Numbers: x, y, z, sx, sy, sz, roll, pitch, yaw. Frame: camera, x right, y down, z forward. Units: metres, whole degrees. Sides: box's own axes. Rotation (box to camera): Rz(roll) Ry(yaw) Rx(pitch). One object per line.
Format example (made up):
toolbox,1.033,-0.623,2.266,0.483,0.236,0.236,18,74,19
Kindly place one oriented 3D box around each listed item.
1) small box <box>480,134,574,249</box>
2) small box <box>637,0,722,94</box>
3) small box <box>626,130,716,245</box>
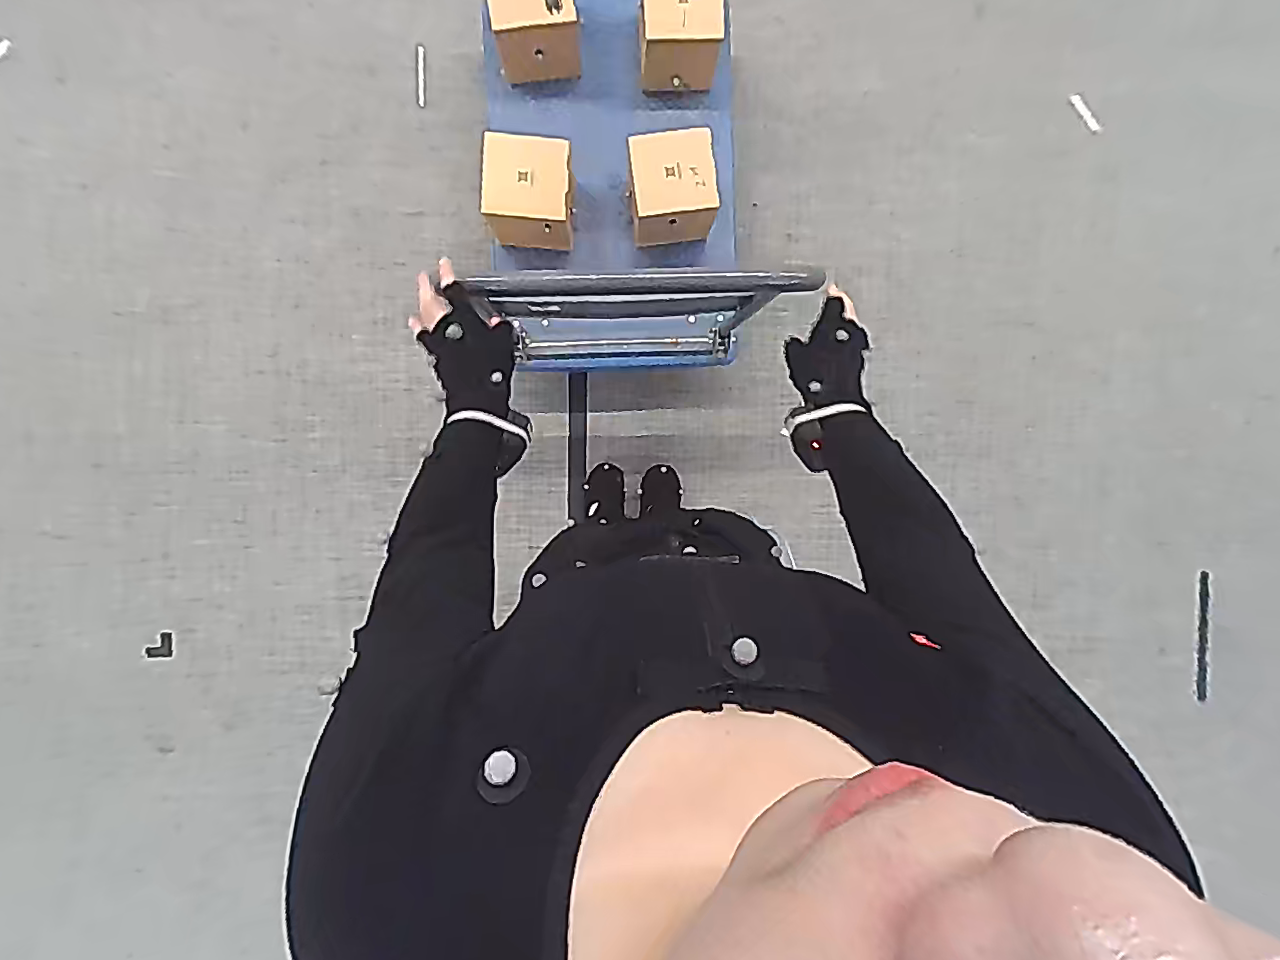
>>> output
small box,-0.243,-0.626,1.195,0.179,0.176,0.168,3,92,-4
small box,0.082,-0.995,1.190,0.168,0.176,0.179,-3,94,-2
small box,0.064,-0.642,1.207,0.179,0.176,0.168,-8,93,-2
